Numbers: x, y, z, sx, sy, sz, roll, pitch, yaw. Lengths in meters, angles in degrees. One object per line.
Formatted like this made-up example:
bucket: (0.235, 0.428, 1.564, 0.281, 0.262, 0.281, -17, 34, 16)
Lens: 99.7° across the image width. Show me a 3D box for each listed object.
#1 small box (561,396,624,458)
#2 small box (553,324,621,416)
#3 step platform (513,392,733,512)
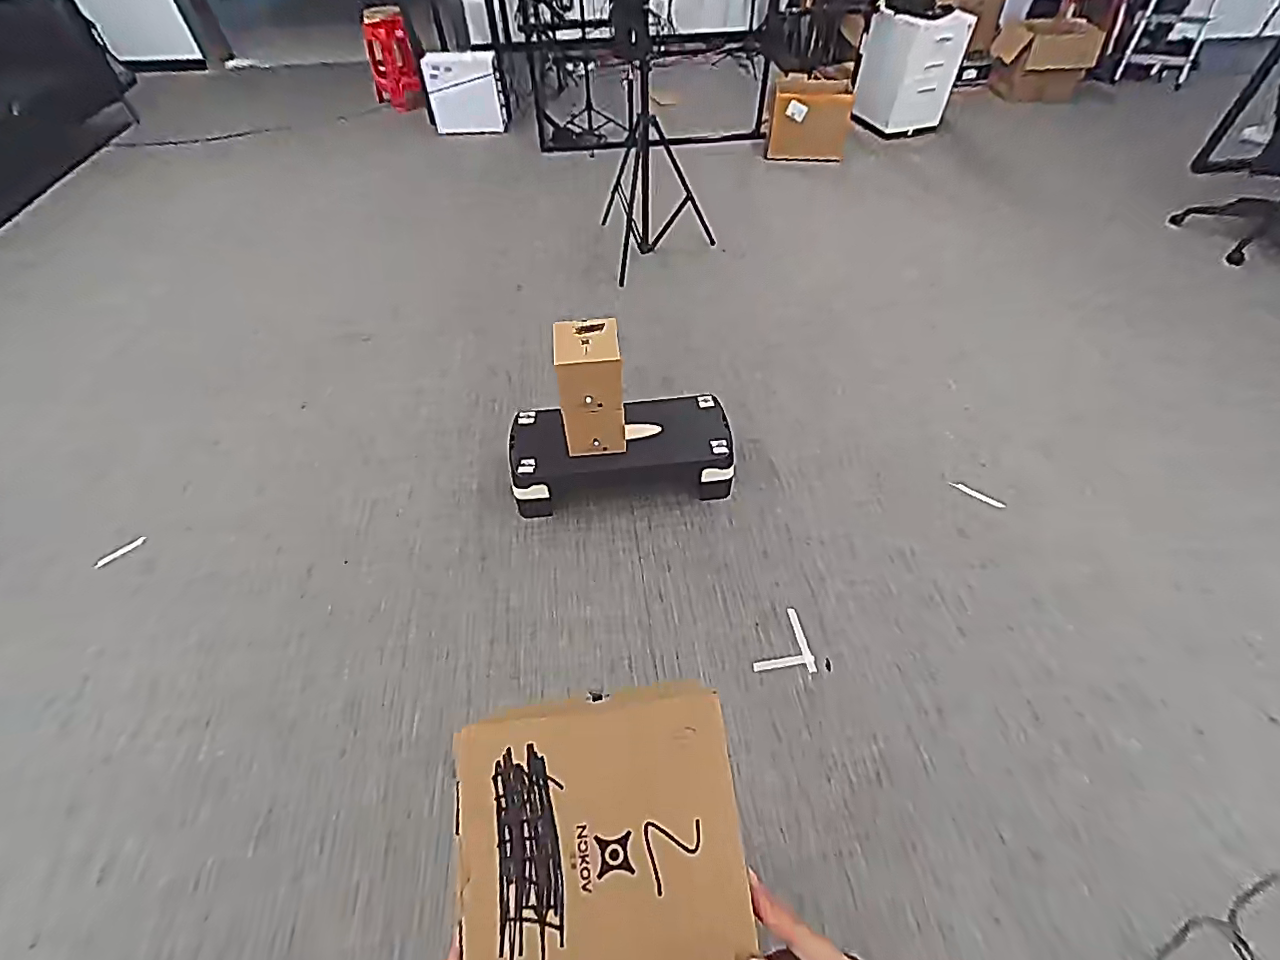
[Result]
small box: (-0.136, -0.185, 1.565, 0.168, 0.176, 0.179, -5, 51, -2)
small box: (-0.140, -0.292, 1.441, 0.168, 0.176, 0.179, -5, 51, -3)
step platform: (-0.052, -0.096, 1.715, 0.684, 0.204, 0.286, -7, 50, -4)
